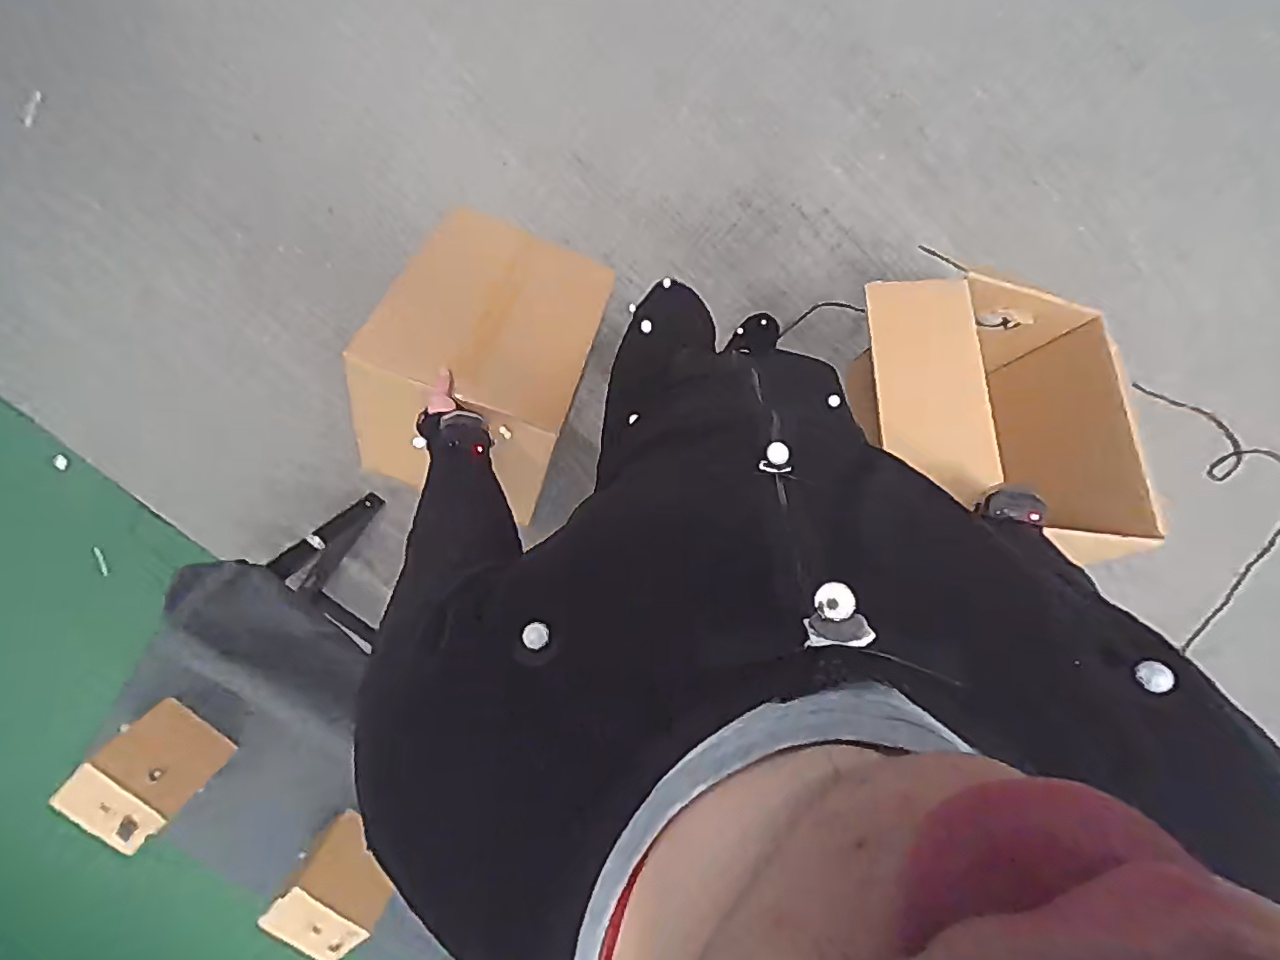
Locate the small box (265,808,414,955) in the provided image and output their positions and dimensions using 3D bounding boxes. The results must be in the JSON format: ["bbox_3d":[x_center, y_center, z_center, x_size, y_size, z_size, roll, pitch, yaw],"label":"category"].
[{"bbox_3d":[-0.624,0.835,1.142,0.179,0.176,0.168,43,109,-9],"label":"small box"}]

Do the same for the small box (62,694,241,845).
[{"bbox_3d":[-0.958,0.569,1.078,0.168,0.176,0.179,-40,101,18],"label":"small box"}]
